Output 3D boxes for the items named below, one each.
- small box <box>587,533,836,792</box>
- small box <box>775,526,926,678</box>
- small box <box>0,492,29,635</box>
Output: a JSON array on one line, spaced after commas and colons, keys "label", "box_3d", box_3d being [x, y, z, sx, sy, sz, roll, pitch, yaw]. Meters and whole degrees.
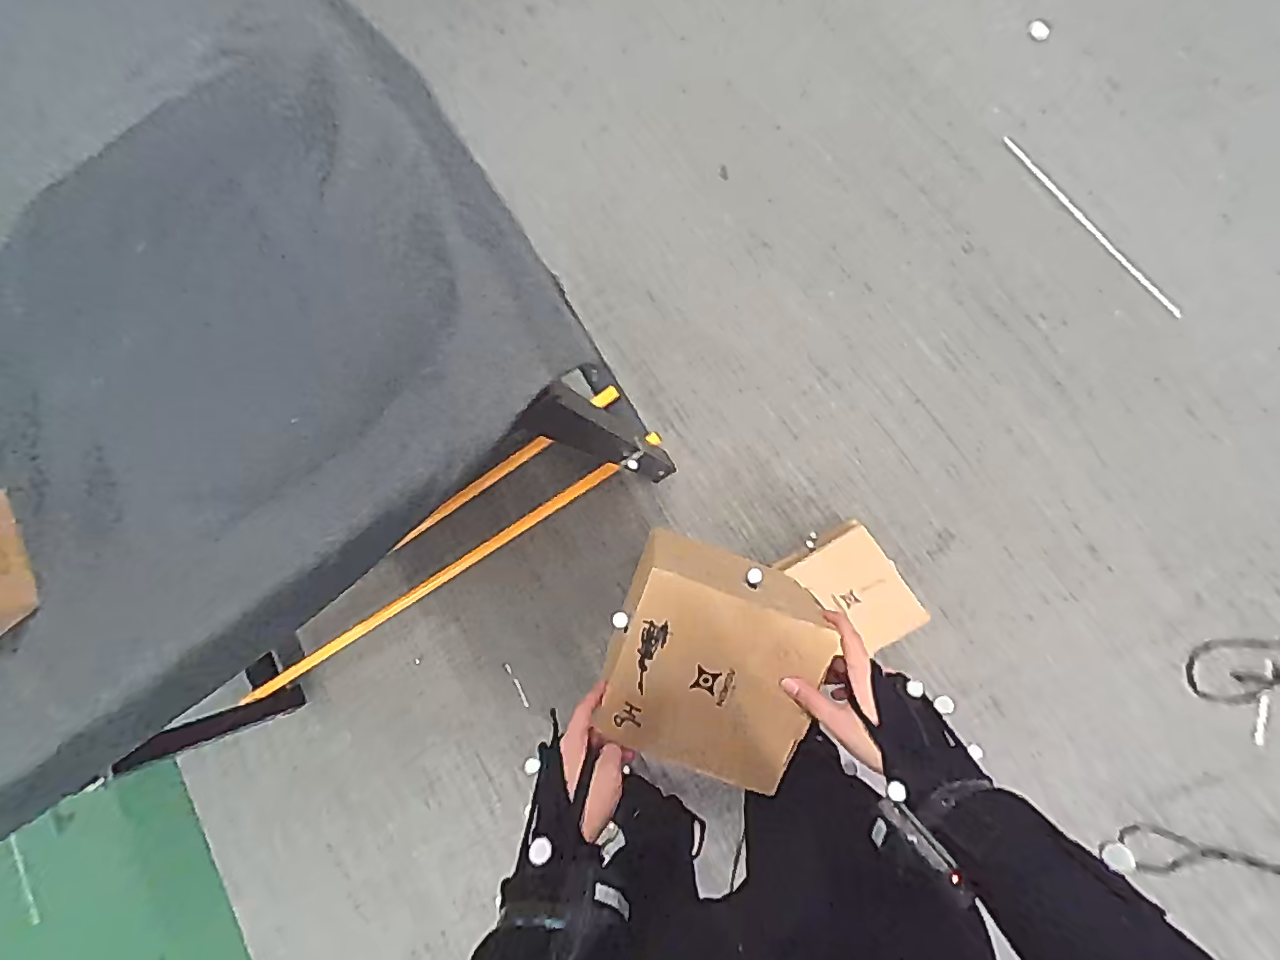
[{"label": "small box", "box_3d": [0.061, 0.166, 0.548, 0.179, 0.176, 0.168, 19, 97, -2]}, {"label": "small box", "box_3d": [0.320, 0.190, 0.880, 0.179, 0.176, 0.168, -34, 78, 8]}, {"label": "small box", "box_3d": [-0.833, 0.113, 0.593, 0.179, 0.176, 0.168, -34, 76, 9]}]
